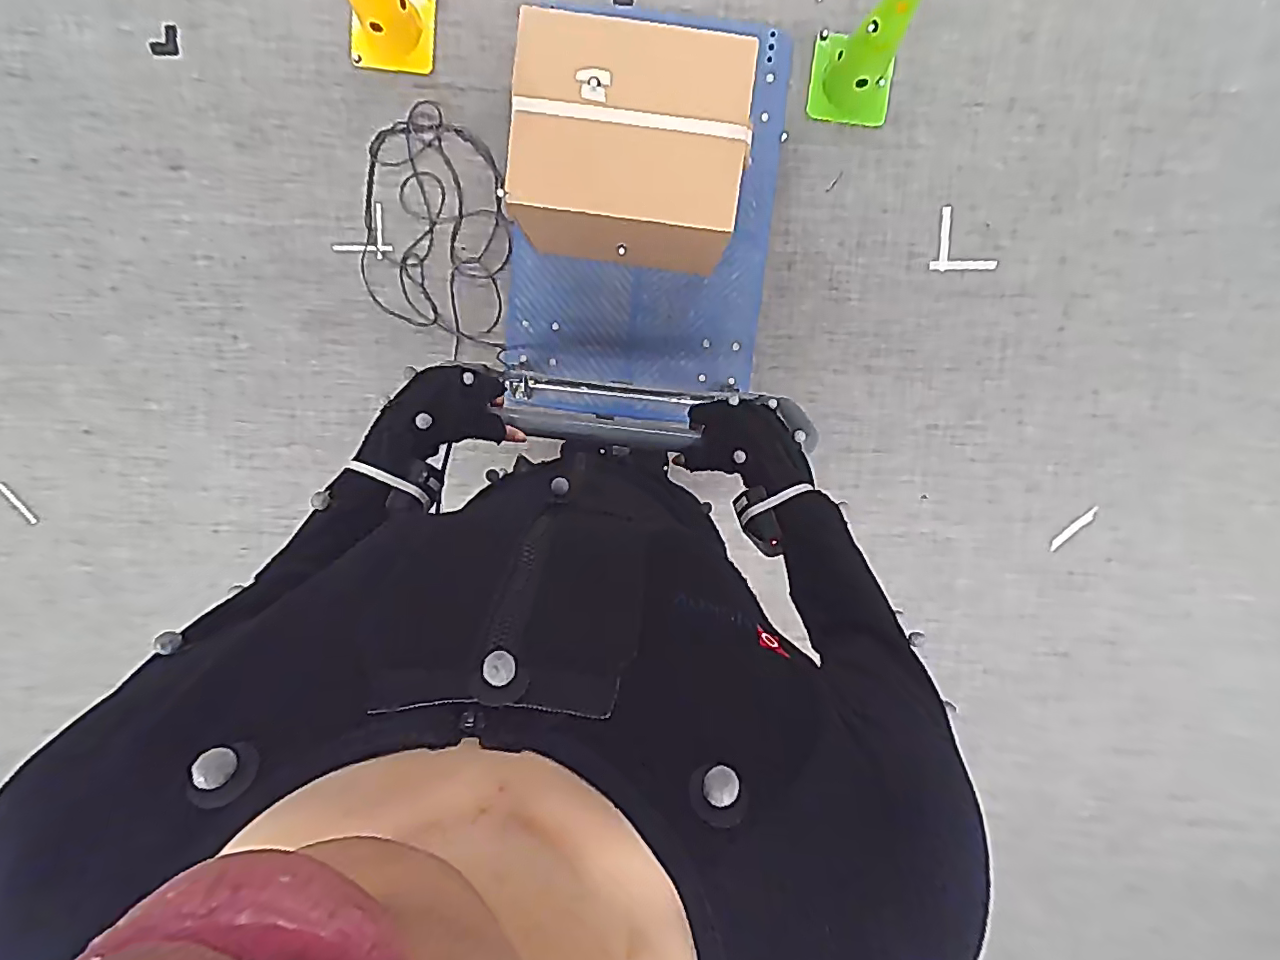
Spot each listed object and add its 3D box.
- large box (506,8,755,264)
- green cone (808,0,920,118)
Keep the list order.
[{"bbox_3d":[-0.017,-0.636,1.066,0.408,0.320,0.320,7,98,0],"label":"large box"},{"bbox_3d":[0.527,-0.988,1.166,0.202,0.368,0.200,6,98,-2],"label":"green cone"}]
